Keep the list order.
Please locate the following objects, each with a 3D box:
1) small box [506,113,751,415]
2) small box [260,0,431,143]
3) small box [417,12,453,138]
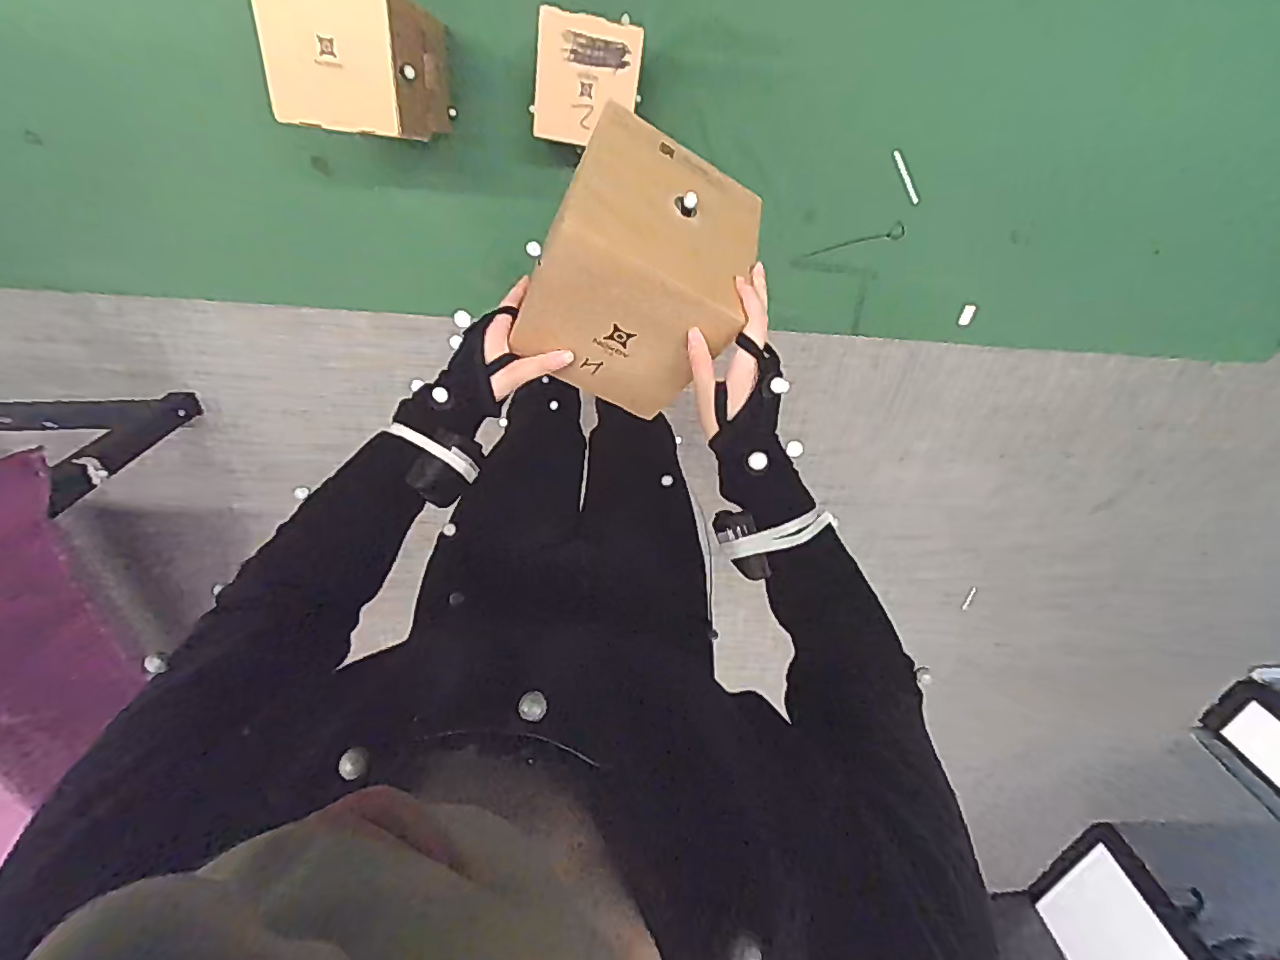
[{"bbox_3d":[-0.008,-0.199,0.521,0.168,0.176,0.179,23,149,-19],"label":"small box"},{"bbox_3d":[-0.411,-0.601,0.782,0.168,0.176,0.179,3,122,-7],"label":"small box"},{"bbox_3d":[-0.423,-0.689,0.917,0.179,0.176,0.168,4,121,-6],"label":"small box"}]
